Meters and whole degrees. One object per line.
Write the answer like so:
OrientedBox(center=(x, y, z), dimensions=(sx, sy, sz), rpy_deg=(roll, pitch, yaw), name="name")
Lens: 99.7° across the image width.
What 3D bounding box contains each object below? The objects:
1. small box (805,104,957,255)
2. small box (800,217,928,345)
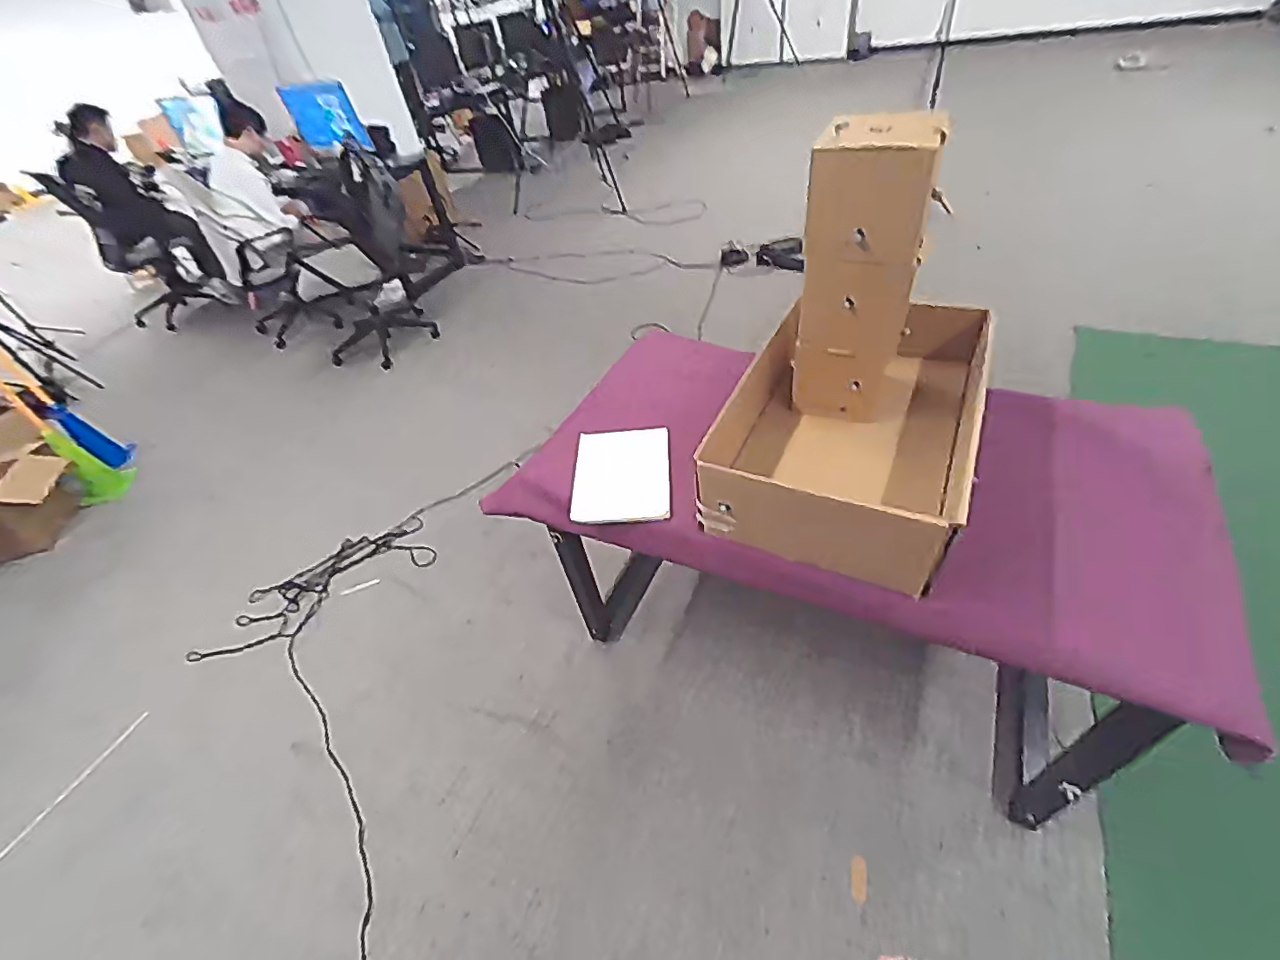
OrientedBox(center=(0.379, -0.481, 0.869), dimensions=(0.179, 0.176, 0.168), rpy_deg=(16, 51, 23), name="small box")
OrientedBox(center=(0.402, -0.364, 0.983), dimensions=(0.179, 0.176, 0.168), rpy_deg=(13, 50, 23), name="small box")
